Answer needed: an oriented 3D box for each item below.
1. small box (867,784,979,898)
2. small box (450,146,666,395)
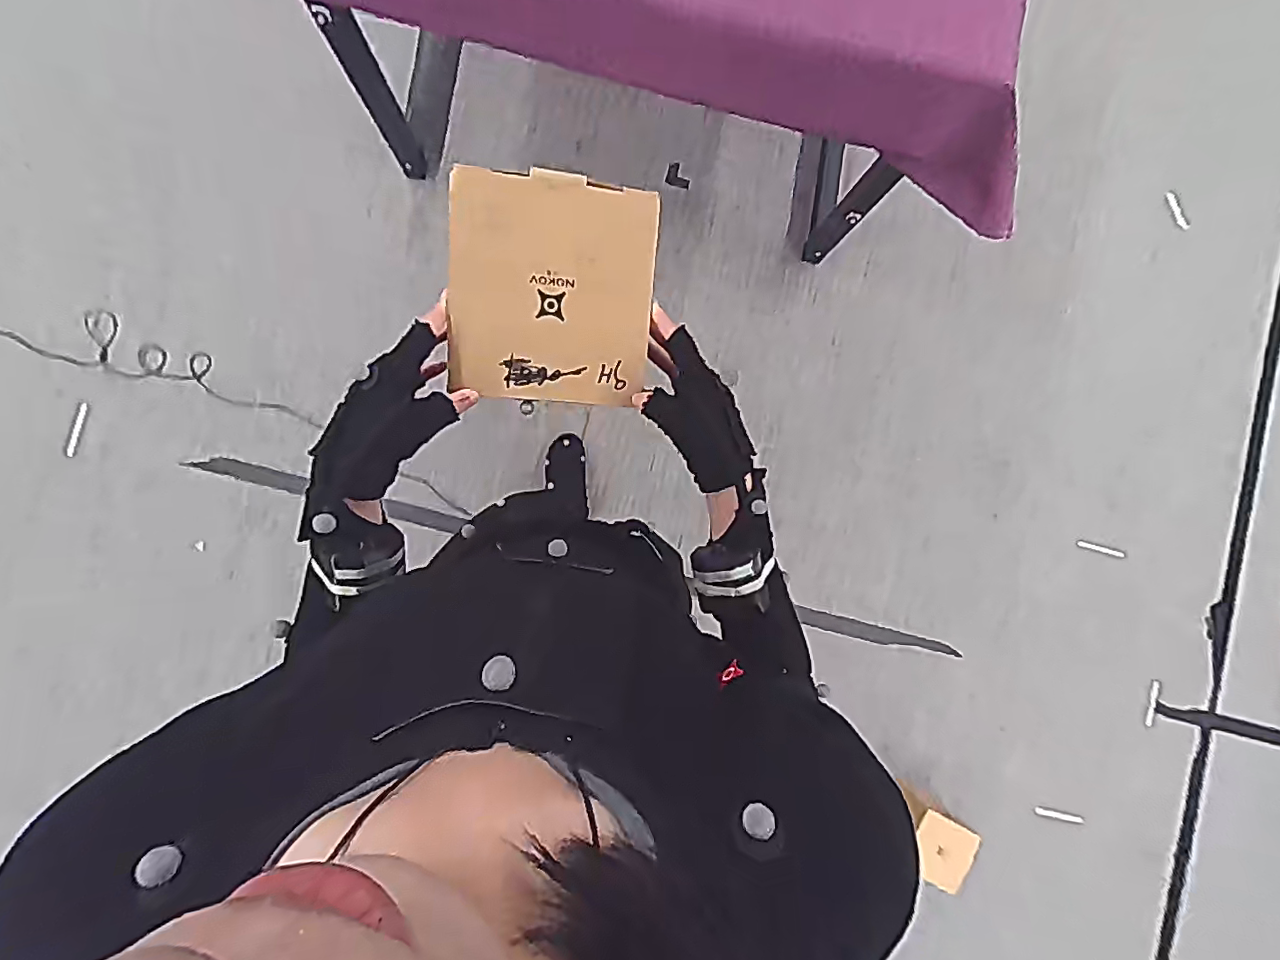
[{"bbox_3d":[0.767,0.976,1.481,0.179,0.176,0.168,30,85,-3],"label":"small box"},{"bbox_3d":[-0.079,-0.179,0.513,0.168,0.176,0.179,3,102,-9],"label":"small box"}]
